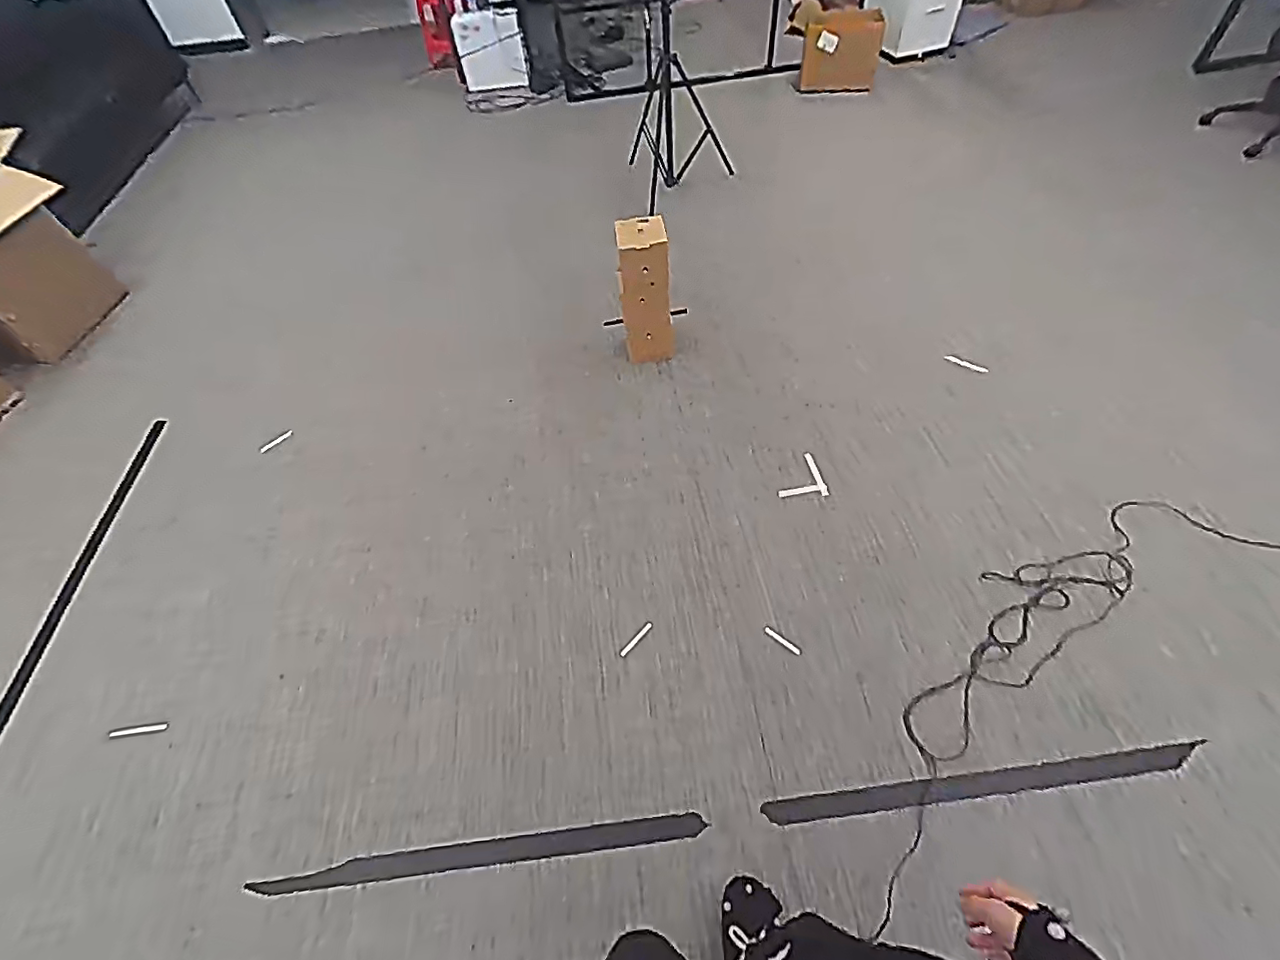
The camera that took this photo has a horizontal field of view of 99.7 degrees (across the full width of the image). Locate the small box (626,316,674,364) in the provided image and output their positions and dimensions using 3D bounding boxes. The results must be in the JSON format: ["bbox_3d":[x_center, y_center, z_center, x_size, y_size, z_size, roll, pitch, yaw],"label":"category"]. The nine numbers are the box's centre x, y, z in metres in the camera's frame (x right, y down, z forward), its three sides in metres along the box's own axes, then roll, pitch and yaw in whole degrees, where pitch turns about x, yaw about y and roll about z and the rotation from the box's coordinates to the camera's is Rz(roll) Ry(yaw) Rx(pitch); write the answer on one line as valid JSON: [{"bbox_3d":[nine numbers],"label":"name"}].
[{"bbox_3d":[0.036,-0.580,2.136,0.179,0.176,0.168,-9,54,0],"label":"small box"}]

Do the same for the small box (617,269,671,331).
[{"bbox_3d":[0.015,-0.672,2.001,0.179,0.176,0.168,-7,55,1],"label":"small box"}]

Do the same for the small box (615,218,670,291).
[{"bbox_3d":[0.010,-0.771,1.871,0.168,0.176,0.179,-7,55,1],"label":"small box"}]
